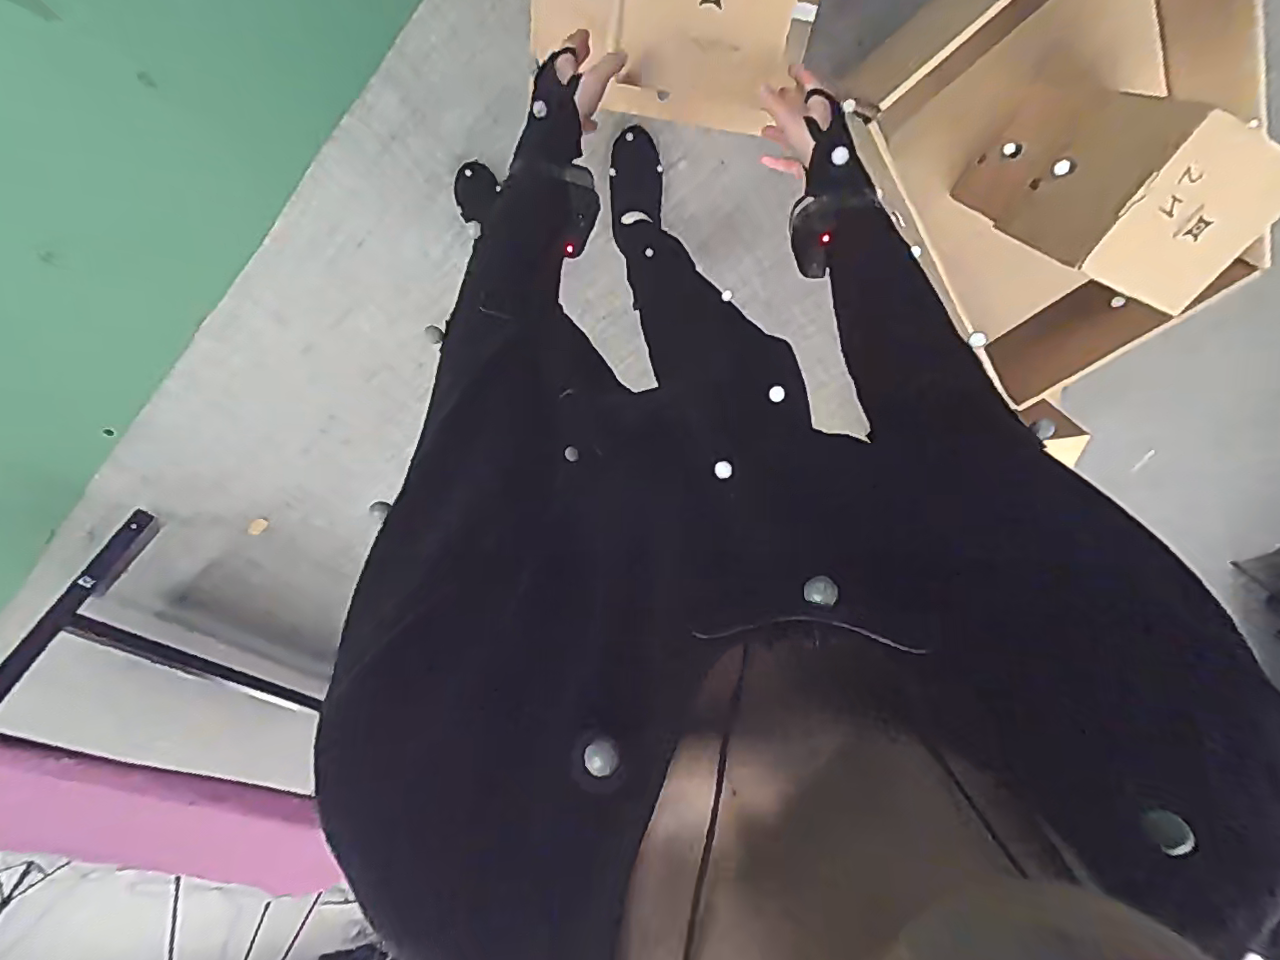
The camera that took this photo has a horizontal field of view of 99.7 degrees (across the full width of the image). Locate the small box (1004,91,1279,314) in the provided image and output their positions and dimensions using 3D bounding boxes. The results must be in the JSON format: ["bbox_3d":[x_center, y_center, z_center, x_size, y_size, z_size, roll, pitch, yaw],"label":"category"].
[{"bbox_3d":[0.587,-0.326,0.631,0.179,0.176,0.168,14,128,-15],"label":"small box"}]

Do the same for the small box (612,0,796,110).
[{"bbox_3d":[0.063,-0.512,0.562,0.168,0.176,0.179,5,130,-8],"label":"small box"}]
